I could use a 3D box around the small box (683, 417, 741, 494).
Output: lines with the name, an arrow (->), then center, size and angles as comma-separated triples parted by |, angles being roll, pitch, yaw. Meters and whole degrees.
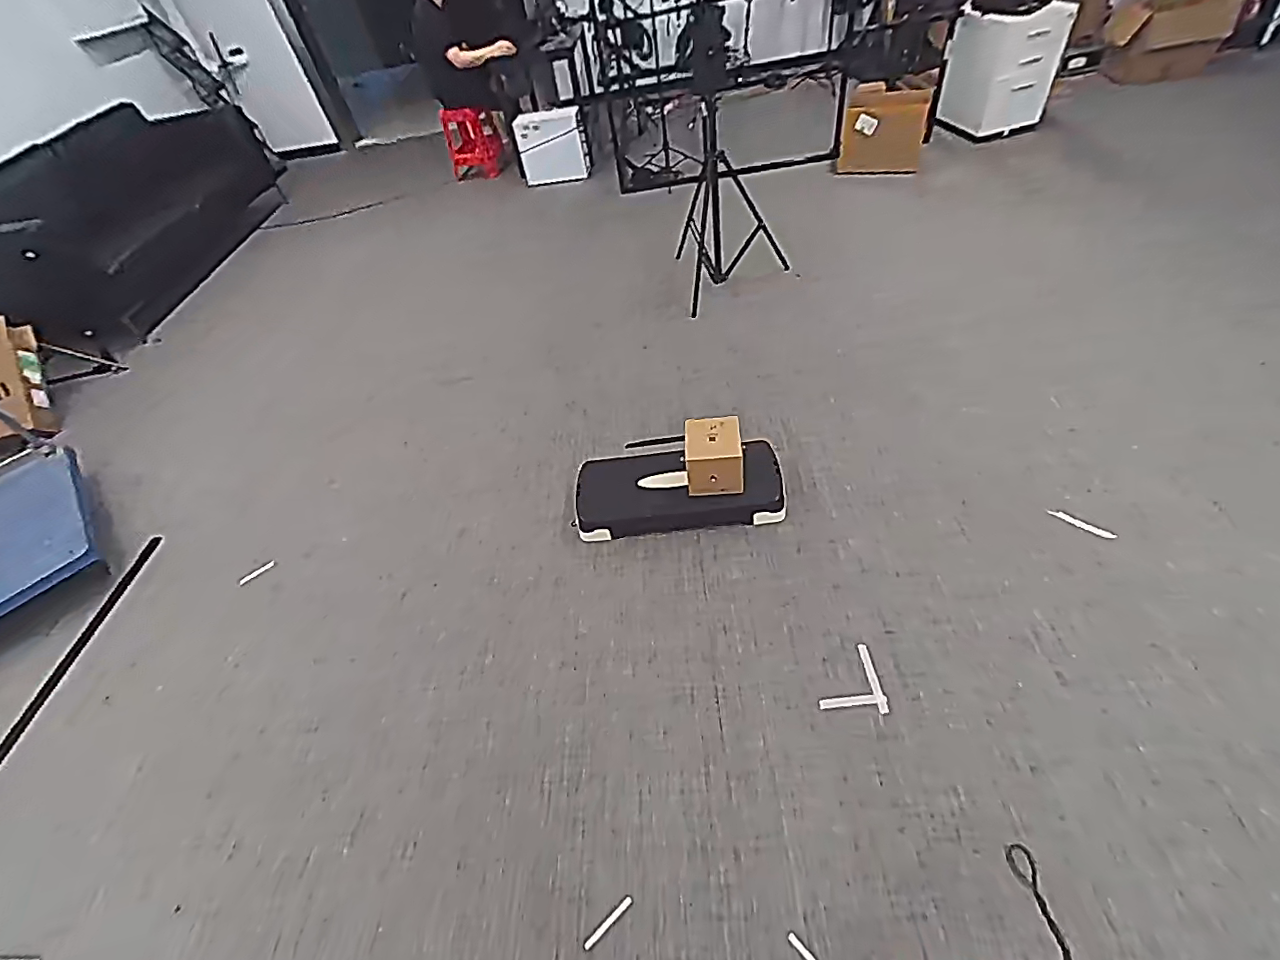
small box -> 0.223, -0.069, 1.670 | 0.168, 0.176, 0.179 | -3, 48, 8
